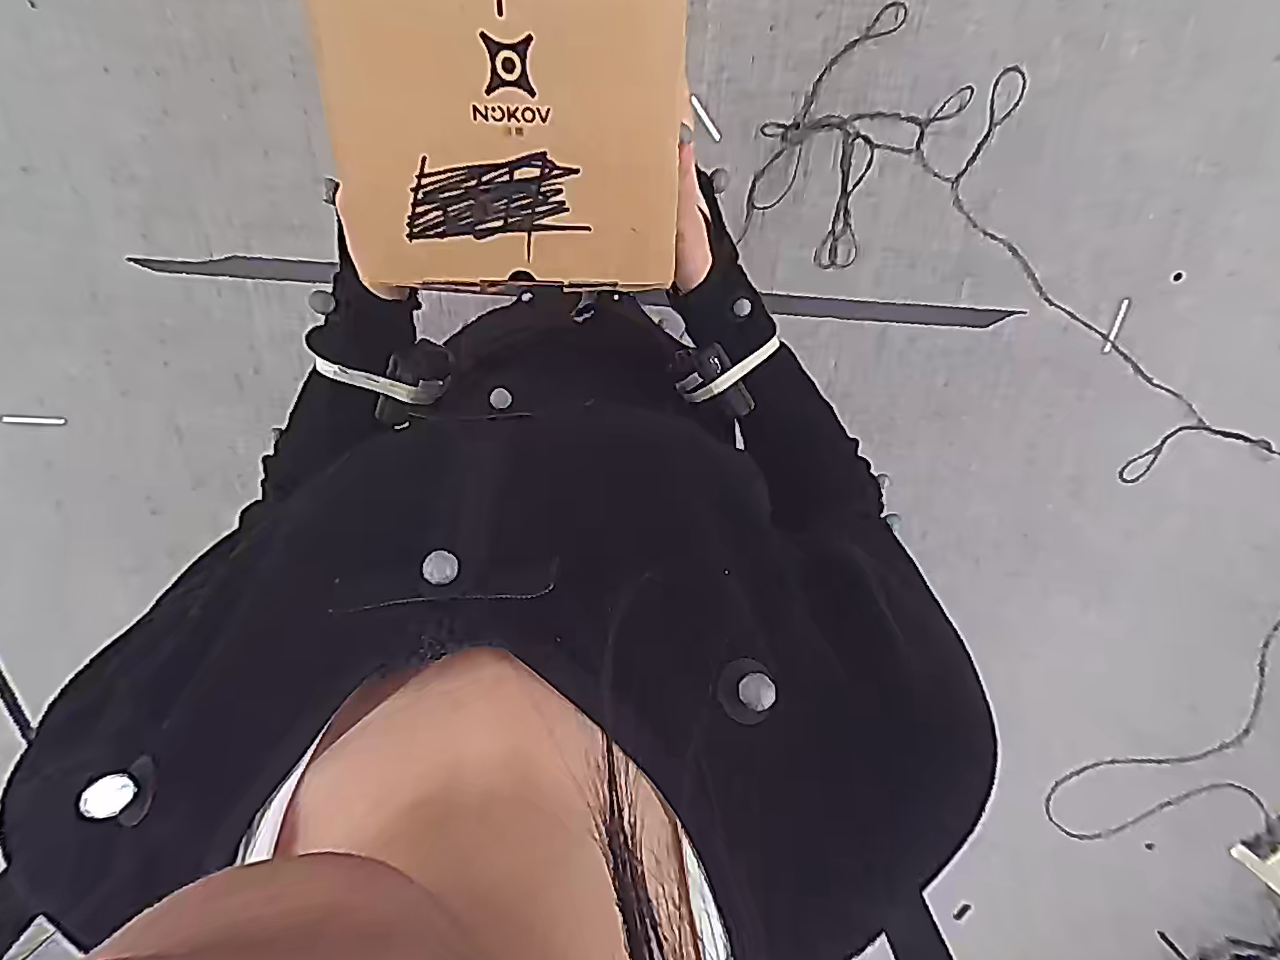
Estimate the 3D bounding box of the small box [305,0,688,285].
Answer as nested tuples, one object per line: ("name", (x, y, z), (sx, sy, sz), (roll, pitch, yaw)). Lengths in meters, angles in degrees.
("small box", (-0.069, -0.219, 0.317), (0.168, 0.176, 0.179), (-2, 117, -7))
